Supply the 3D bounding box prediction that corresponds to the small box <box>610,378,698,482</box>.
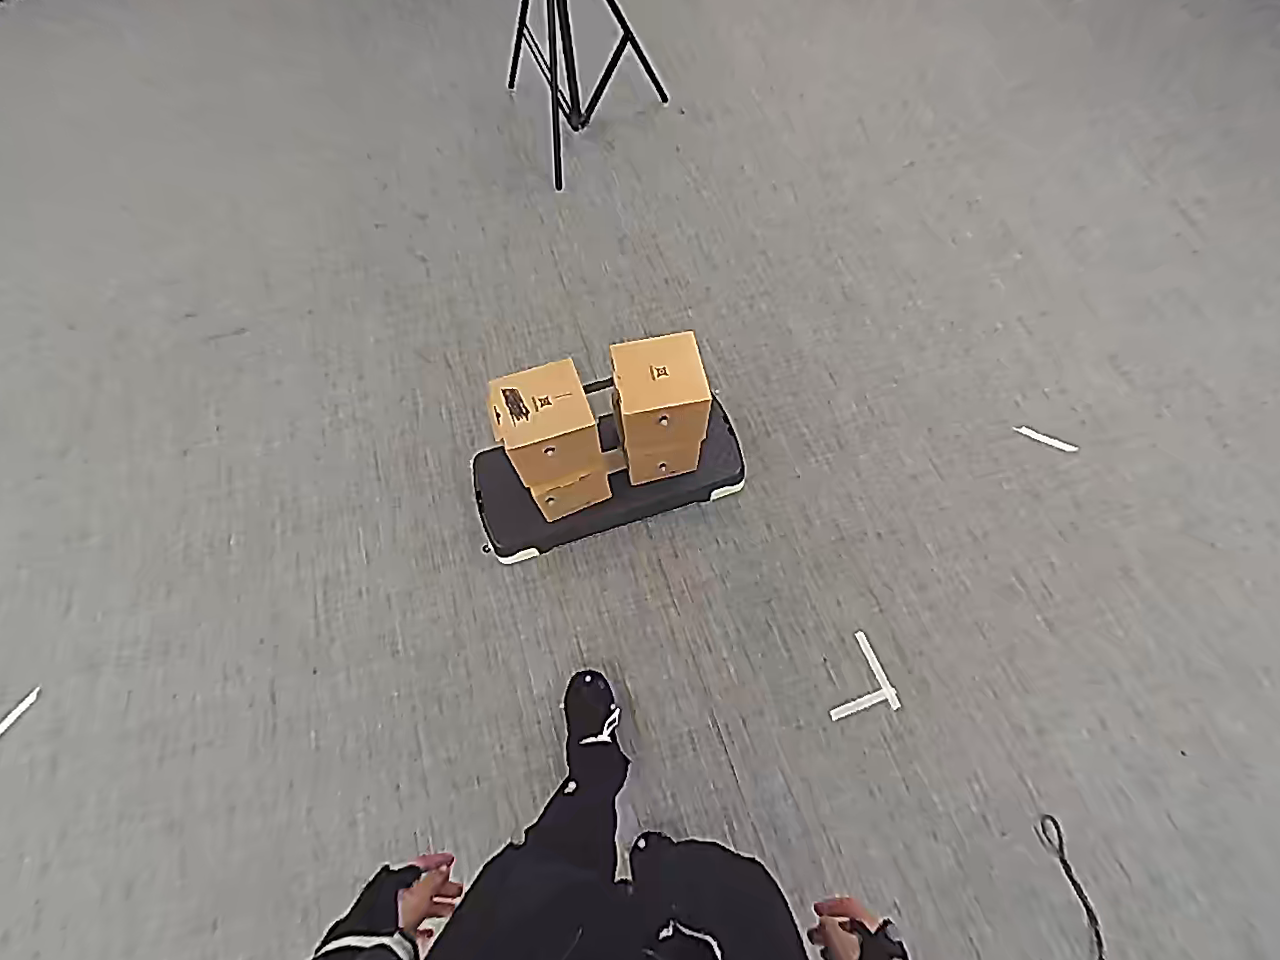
[{"bbox_3d":[0.033,-0.109,1.275,0.168,0.176,0.179,-14,67,-4],"label":"small box"}]
